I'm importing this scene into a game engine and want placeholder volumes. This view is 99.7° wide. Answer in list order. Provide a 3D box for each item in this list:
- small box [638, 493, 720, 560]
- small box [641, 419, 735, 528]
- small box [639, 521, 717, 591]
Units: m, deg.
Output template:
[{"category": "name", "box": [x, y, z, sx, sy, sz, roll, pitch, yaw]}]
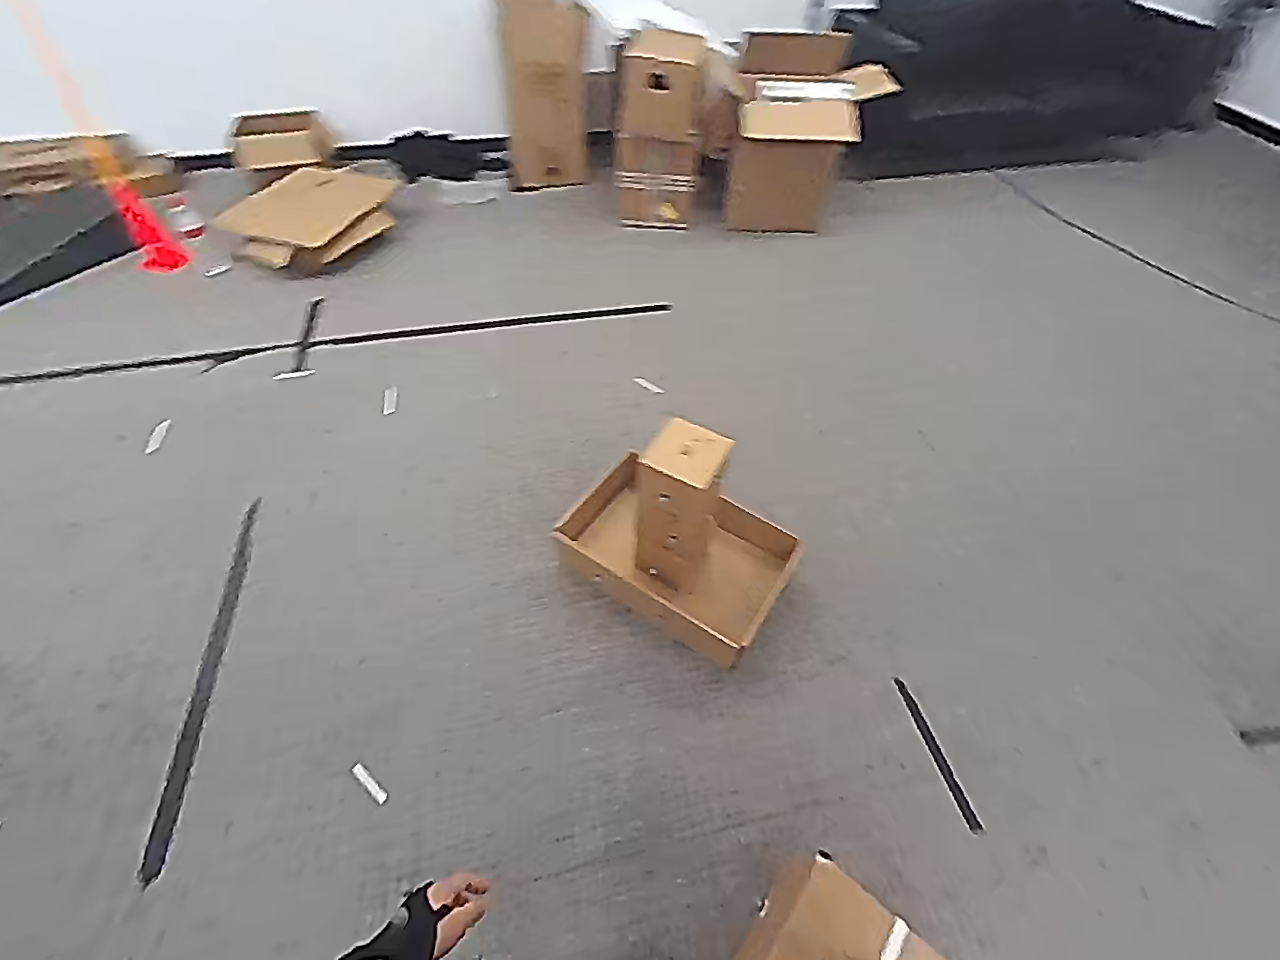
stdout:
[{"category": "small box", "box": [0.105, 0.087, 1.469, 0.168, 0.176, 0.179, 26, 54, 16]}, {"category": "small box", "box": [0.114, -0.012, 1.337, 0.168, 0.176, 0.179, 26, 55, 16]}, {"category": "small box", "box": [0.104, 0.192, 1.593, 0.168, 0.176, 0.179, 29, 57, 20]}]
